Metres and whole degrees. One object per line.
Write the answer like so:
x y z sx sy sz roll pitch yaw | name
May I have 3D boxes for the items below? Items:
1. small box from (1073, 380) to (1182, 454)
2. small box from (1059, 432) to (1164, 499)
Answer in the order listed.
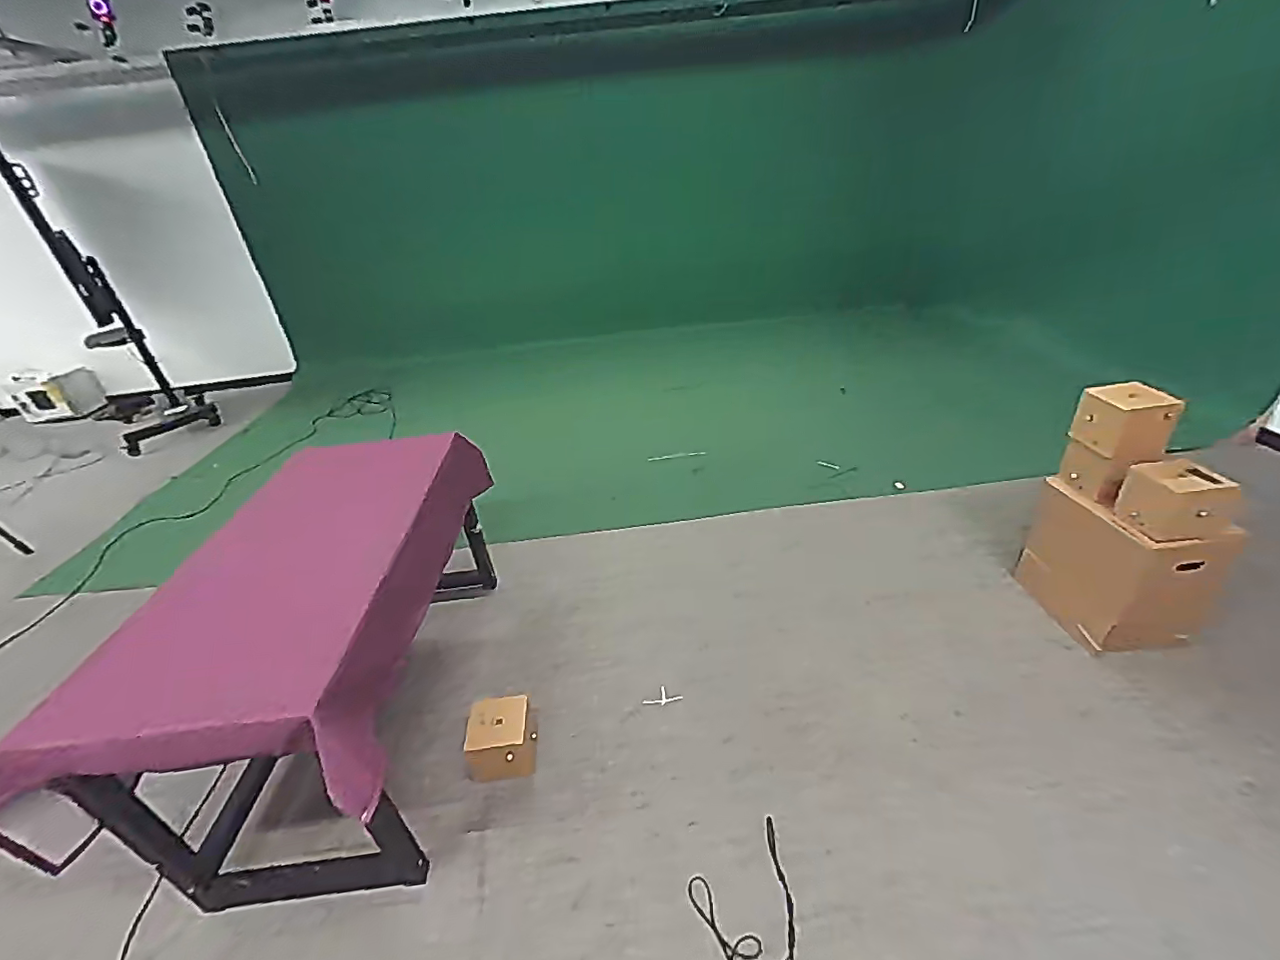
1.498 -0.192 1.681 0.179 0.176 0.168 -8 33 -1 | small box
1.528 -0.057 1.767 0.179 0.176 0.168 -8 33 1 | small box
